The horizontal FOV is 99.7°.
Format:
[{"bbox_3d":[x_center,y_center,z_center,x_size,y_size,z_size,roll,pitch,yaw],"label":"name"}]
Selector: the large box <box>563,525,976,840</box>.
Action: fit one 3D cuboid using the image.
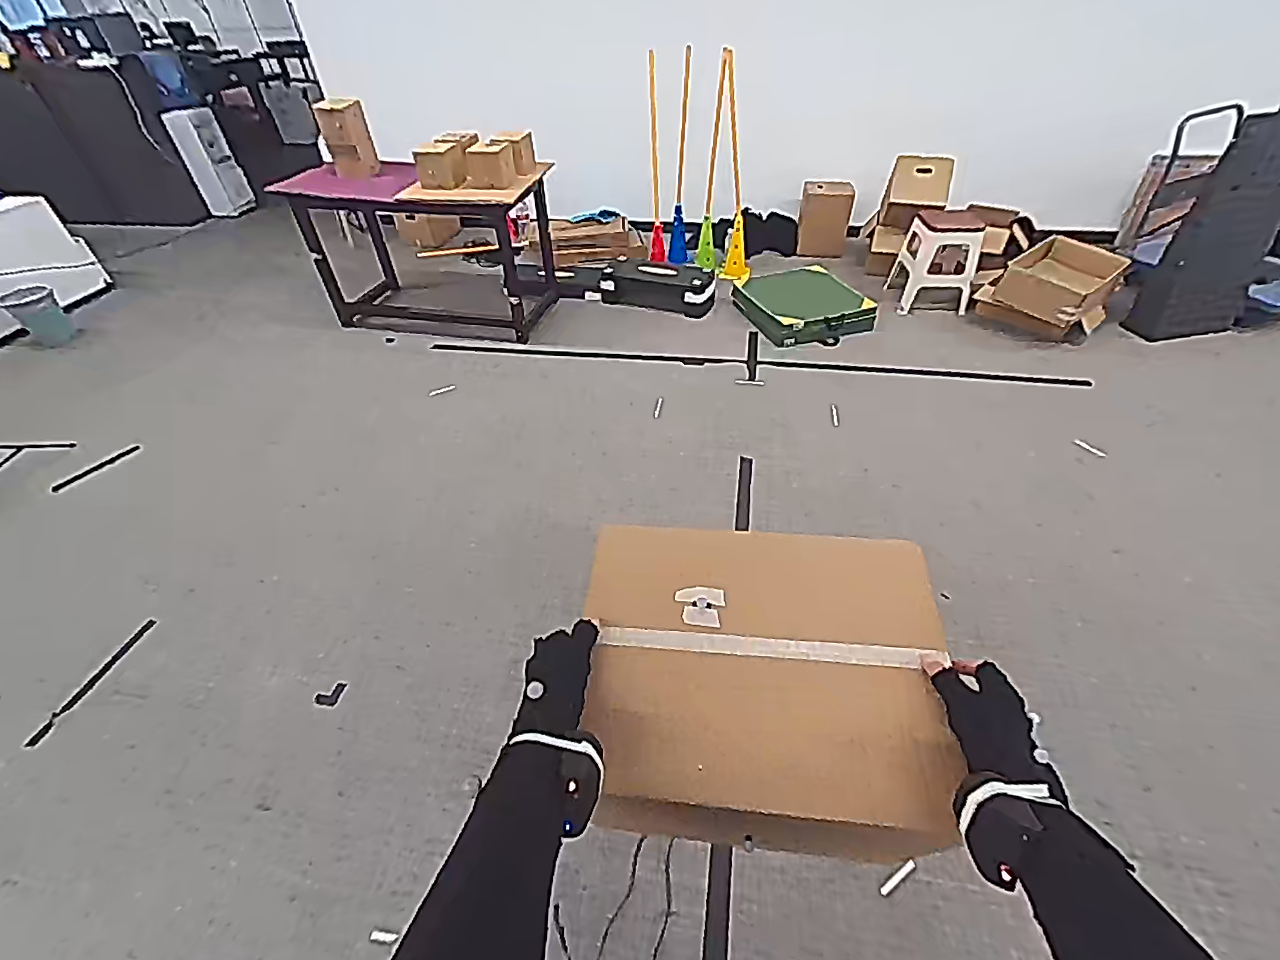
[{"bbox_3d":[0.145,0.277,0.731,0.408,0.320,0.320,2,51,7],"label":"large box"}]
